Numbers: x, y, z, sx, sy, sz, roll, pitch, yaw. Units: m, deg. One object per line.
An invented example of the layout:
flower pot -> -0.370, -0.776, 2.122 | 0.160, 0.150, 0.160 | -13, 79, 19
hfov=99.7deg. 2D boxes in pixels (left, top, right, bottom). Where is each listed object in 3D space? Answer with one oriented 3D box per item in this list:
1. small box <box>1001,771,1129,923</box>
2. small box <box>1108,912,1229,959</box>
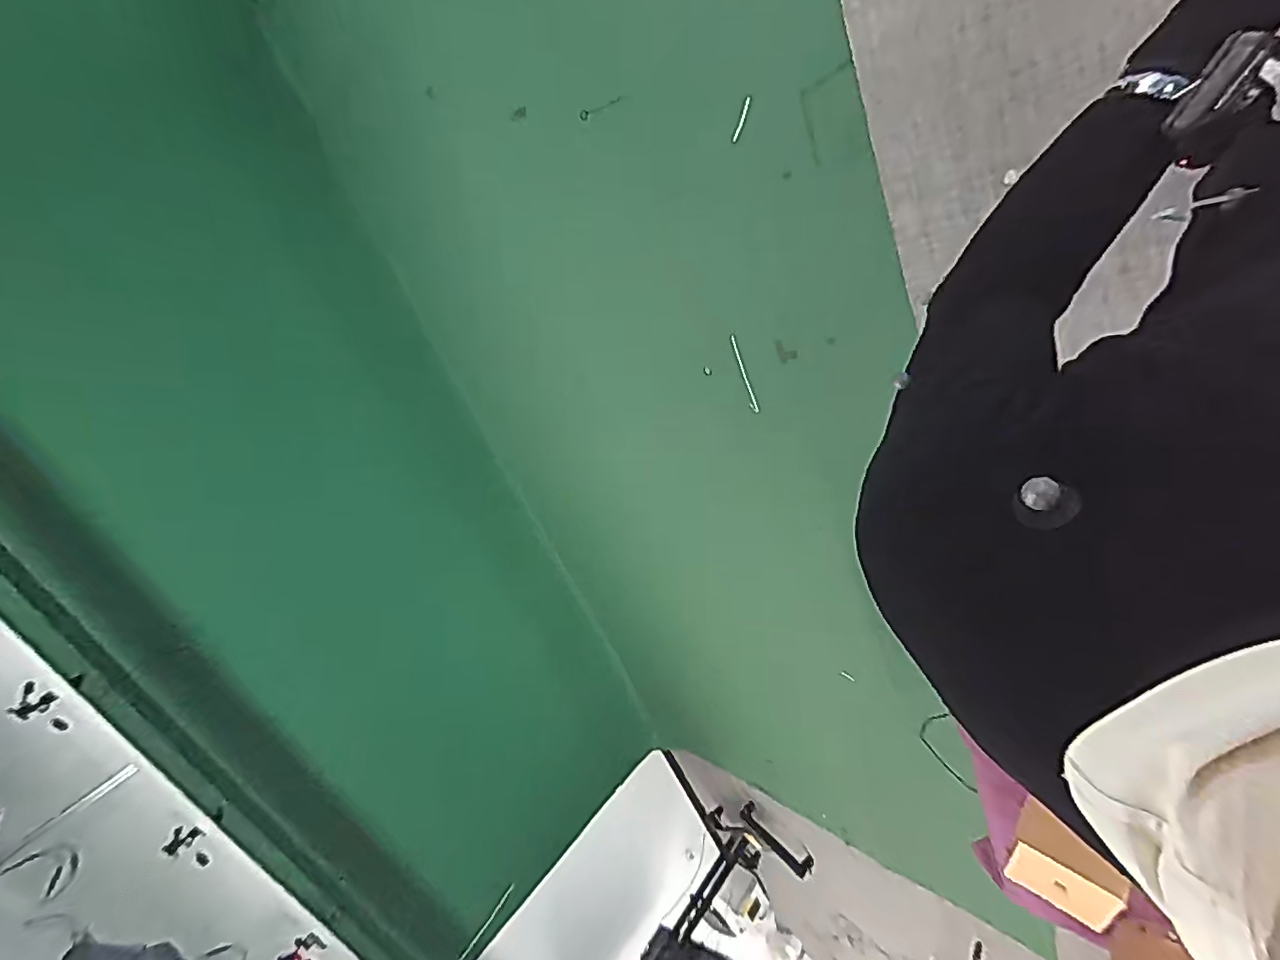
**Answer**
small box -> 0.876, 0.747, 1.115 | 0.168, 0.176, 0.179 | 19, 138, 38
small box -> 1.115, 1.047, 1.119 | 0.179, 0.176, 0.168 | 44, 147, 11
